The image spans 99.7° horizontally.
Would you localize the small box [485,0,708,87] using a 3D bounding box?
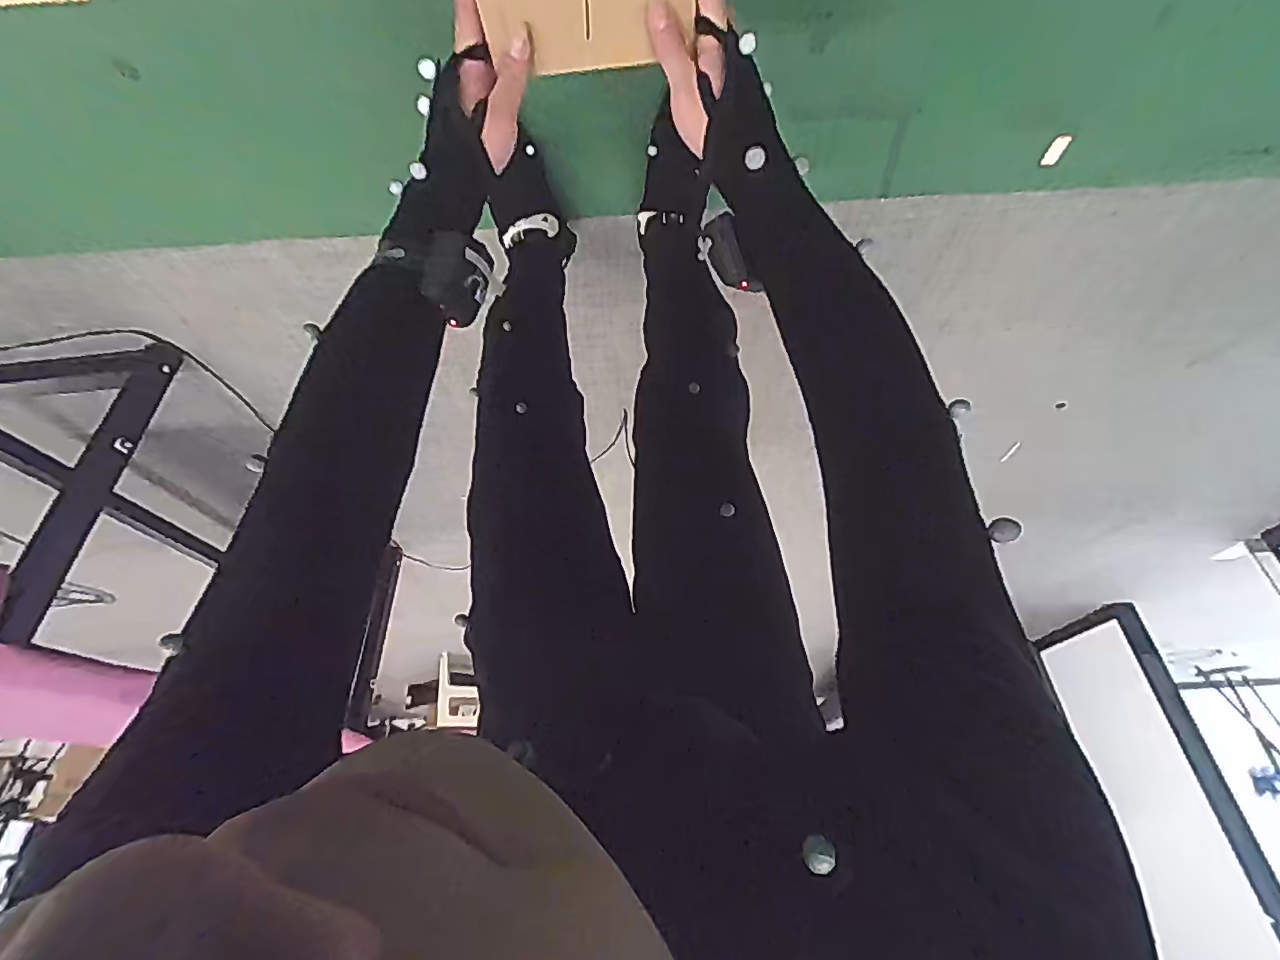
[{"bbox_3d":[-0.039,-0.439,0.406,0.168,0.176,0.179,-4,149,2],"label":"small box"}]
